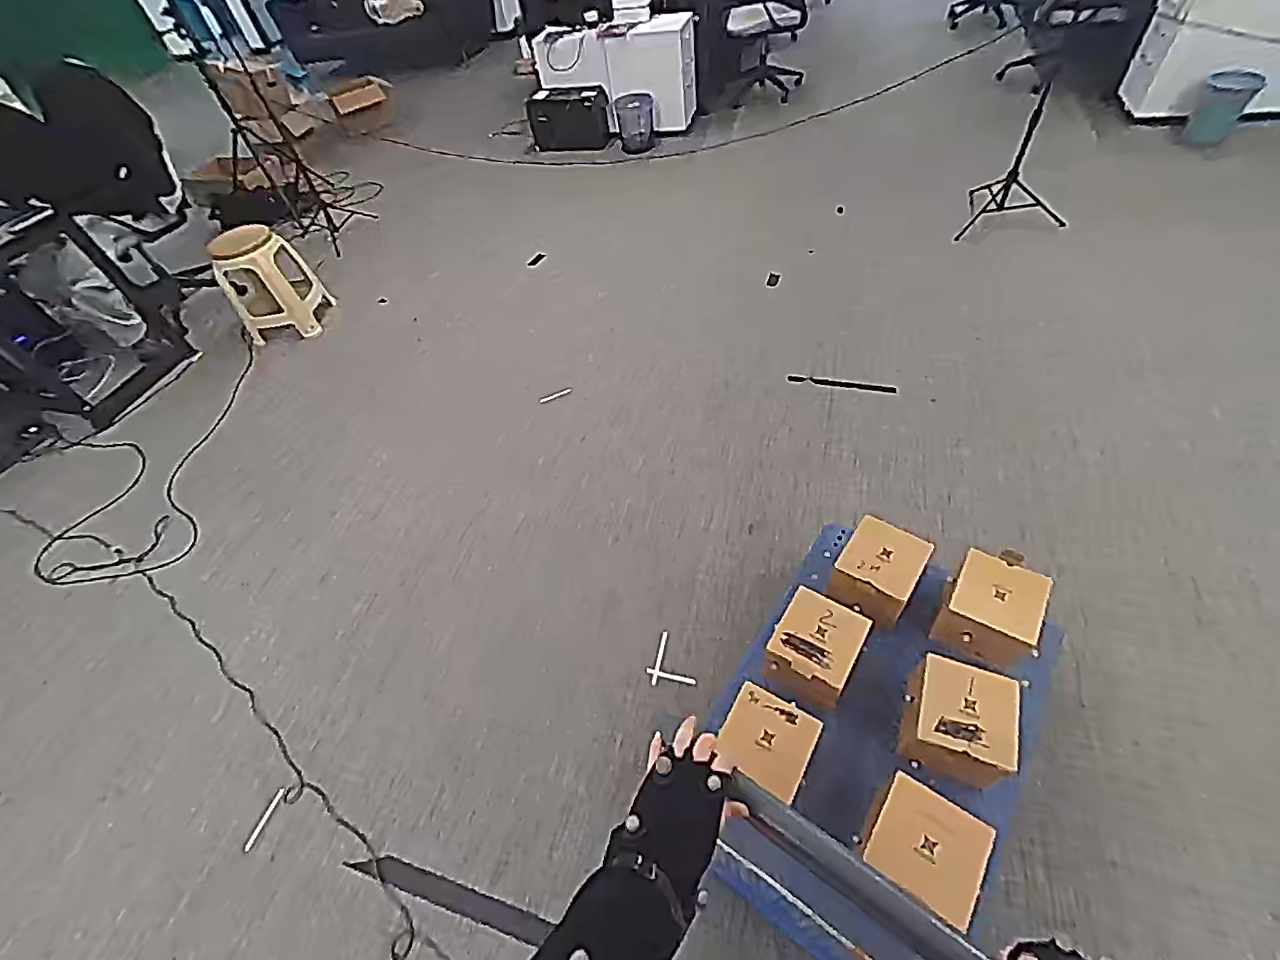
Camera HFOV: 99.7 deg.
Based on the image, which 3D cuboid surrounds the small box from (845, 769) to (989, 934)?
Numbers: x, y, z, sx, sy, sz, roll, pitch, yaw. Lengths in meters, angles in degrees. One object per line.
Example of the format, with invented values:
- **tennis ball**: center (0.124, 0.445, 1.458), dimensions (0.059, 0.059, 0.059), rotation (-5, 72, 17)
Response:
- **small box**: center (0.485, 0.664, 0.971), dimensions (0.168, 0.176, 0.179), rotation (28, 60, 26)

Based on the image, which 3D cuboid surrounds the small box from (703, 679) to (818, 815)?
- **small box**: center (0.243, 0.547, 1.100), dimensions (0.168, 0.176, 0.179), rotation (24, 59, 24)

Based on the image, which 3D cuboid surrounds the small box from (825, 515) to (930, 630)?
- **small box**: center (0.564, 0.225, 1.306), dimensions (0.168, 0.176, 0.179), rotation (29, 62, 28)

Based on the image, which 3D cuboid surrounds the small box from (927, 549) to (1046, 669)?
- **small box**: center (0.772, 0.295, 1.222), dimensions (0.168, 0.176, 0.179), rotation (24, 59, 25)

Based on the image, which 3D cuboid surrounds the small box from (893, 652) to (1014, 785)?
- **small box**: center (0.625, 0.485, 1.091), dimensions (0.168, 0.176, 0.179), rotation (16, 55, 20)
